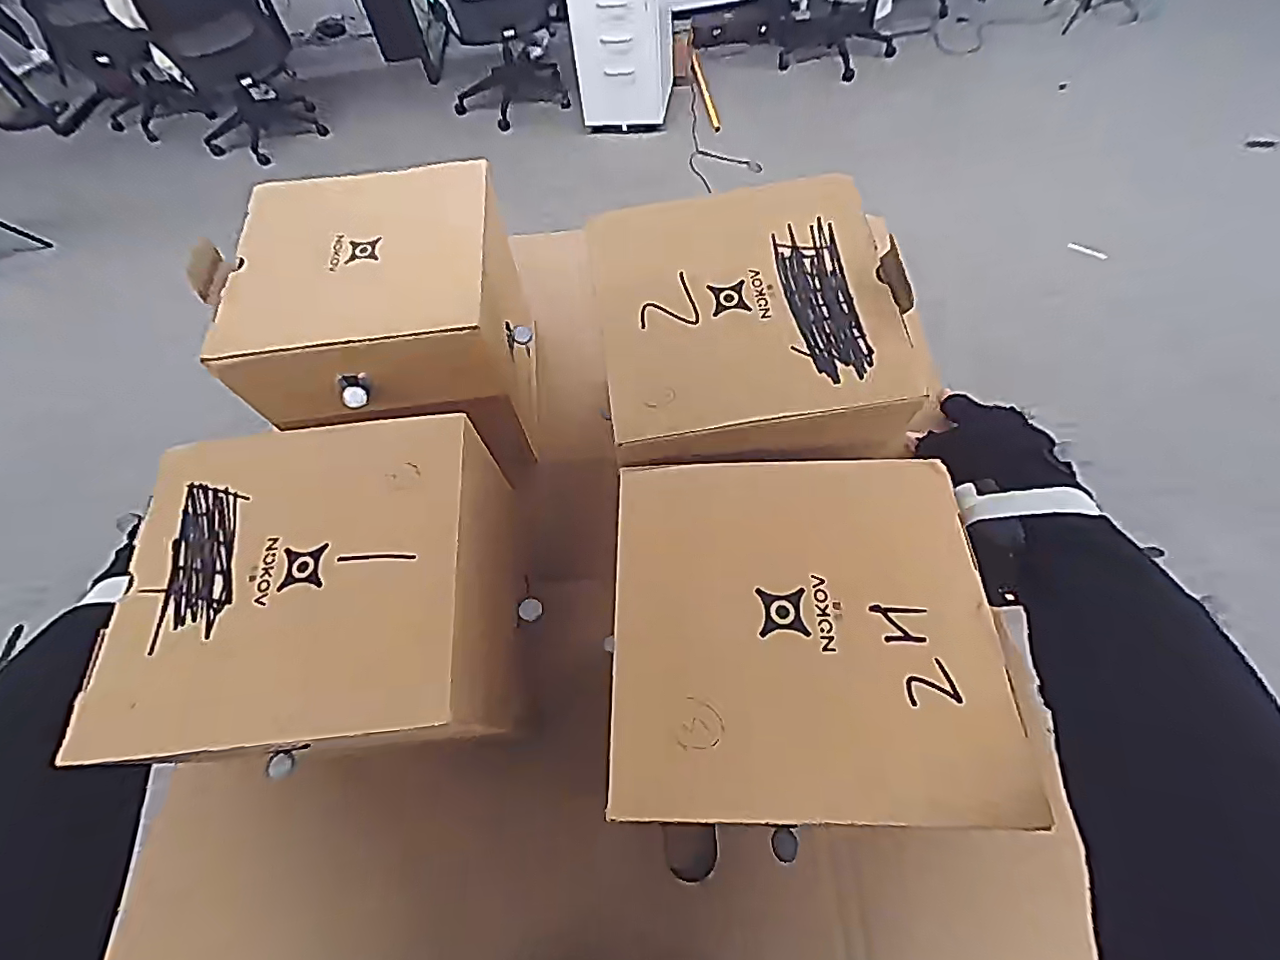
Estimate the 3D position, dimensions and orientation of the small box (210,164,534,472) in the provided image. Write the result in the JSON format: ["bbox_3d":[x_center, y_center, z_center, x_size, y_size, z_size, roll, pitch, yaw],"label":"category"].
[{"bbox_3d":[-0.188,-0.121,0.446,0.179,0.176,0.168,-7,62,1],"label":"small box"}]
